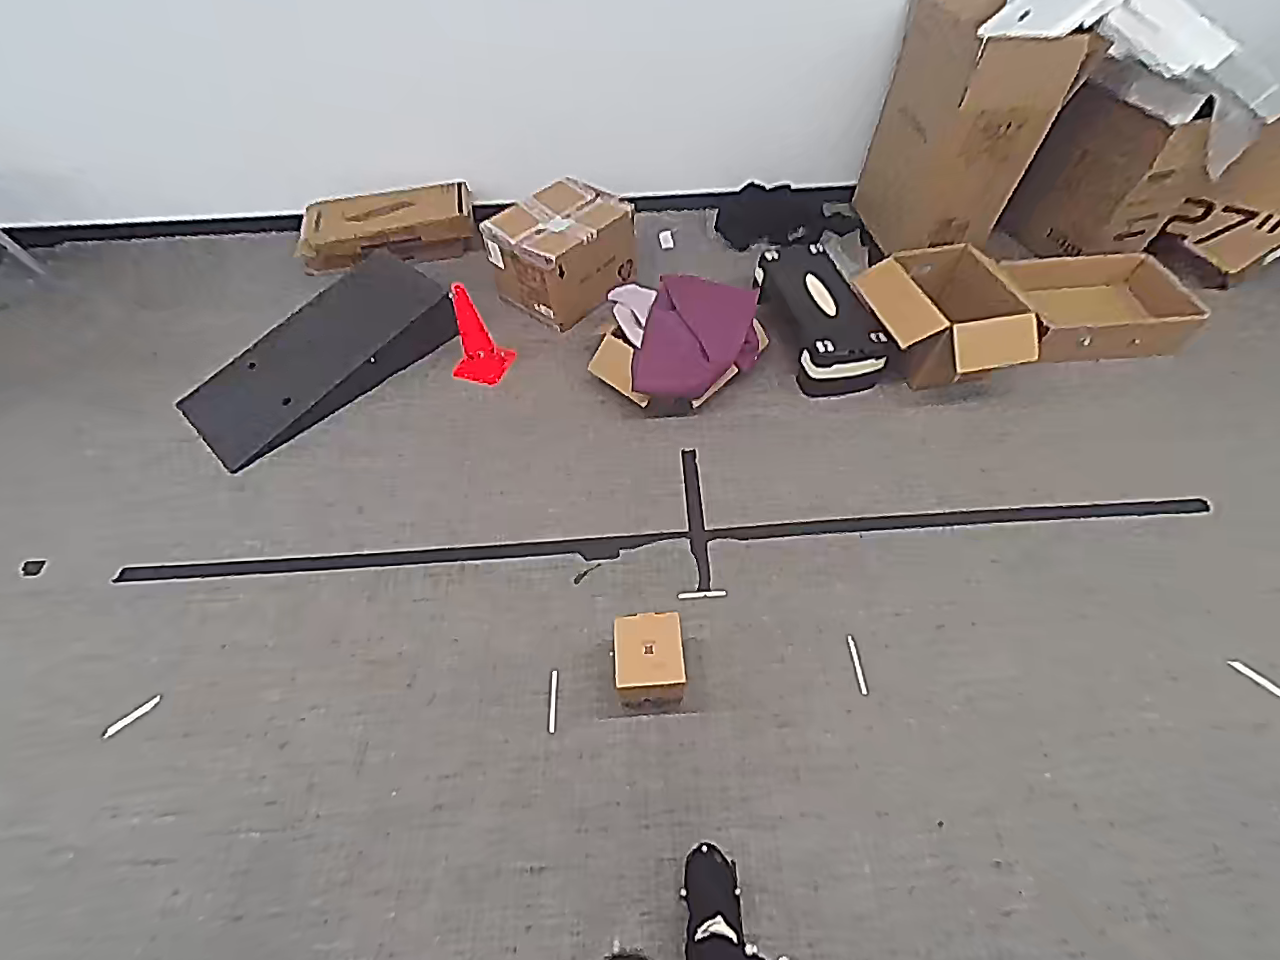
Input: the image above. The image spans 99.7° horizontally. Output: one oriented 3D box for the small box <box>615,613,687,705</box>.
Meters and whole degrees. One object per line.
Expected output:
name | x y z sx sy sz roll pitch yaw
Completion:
small box | 0.025 0.453 1.364 0.168 0.176 0.179 -5 56 0
